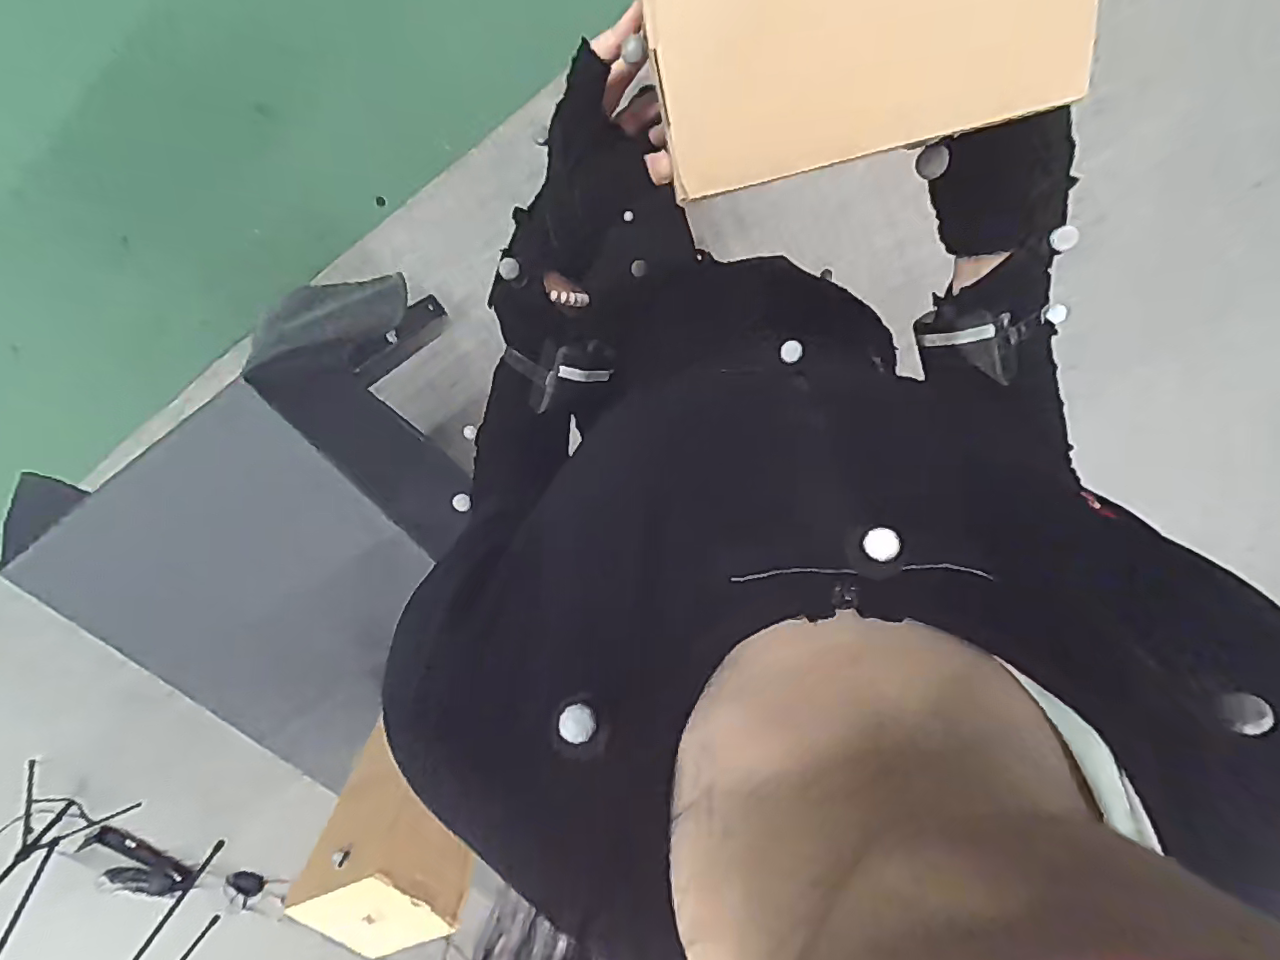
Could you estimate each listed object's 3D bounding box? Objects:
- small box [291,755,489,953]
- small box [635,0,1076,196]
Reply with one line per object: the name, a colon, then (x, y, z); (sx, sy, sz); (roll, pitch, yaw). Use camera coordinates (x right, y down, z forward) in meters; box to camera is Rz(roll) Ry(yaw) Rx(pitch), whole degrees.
small box: (-0.355, 0.552, 0.807); (0.179, 0.176, 0.168); (-30, 113, 16)
small box: (0.087, -0.259, 0.281); (0.179, 0.176, 0.168); (-10, 116, 11)
